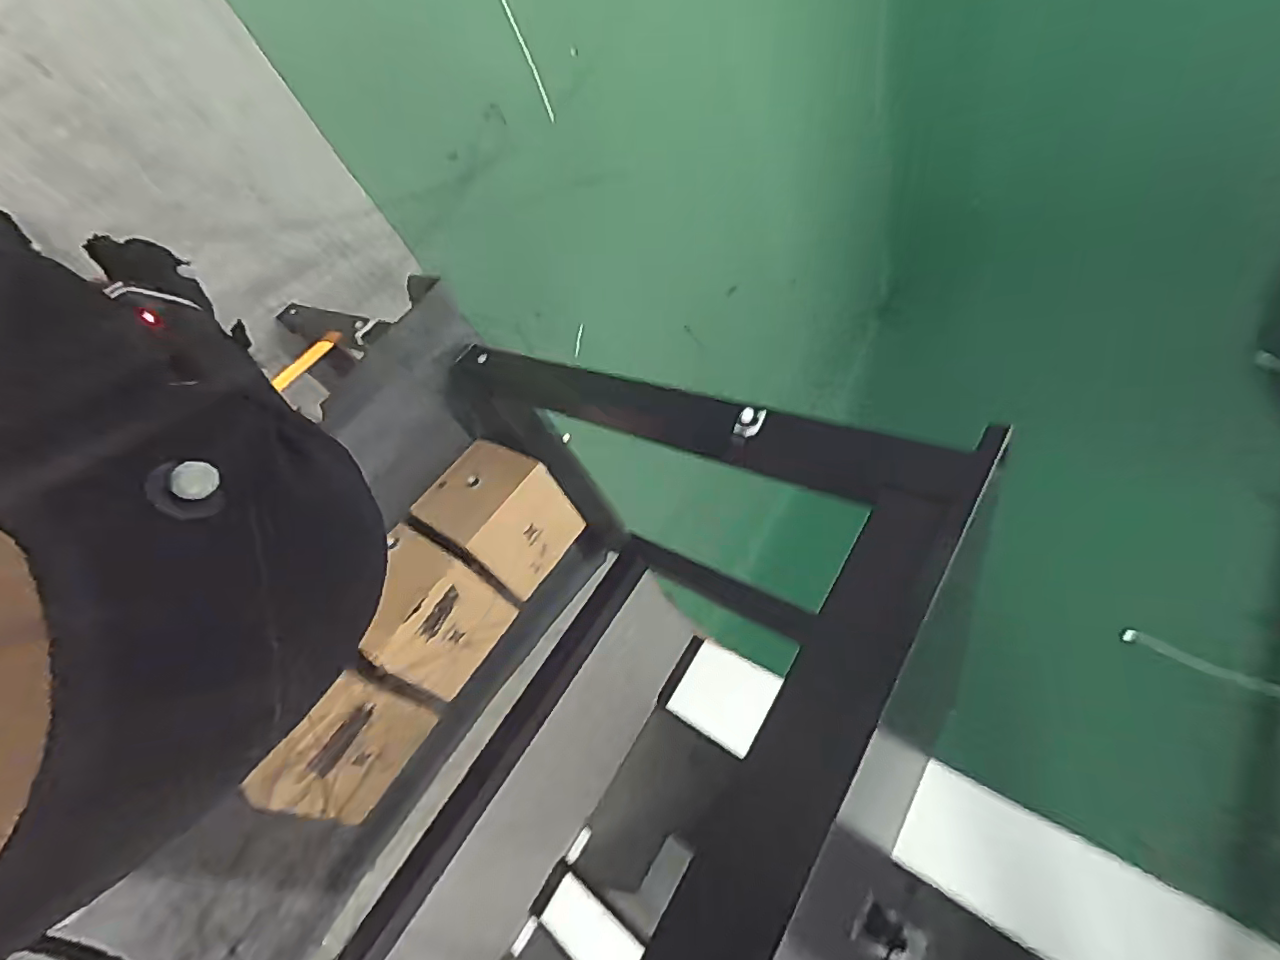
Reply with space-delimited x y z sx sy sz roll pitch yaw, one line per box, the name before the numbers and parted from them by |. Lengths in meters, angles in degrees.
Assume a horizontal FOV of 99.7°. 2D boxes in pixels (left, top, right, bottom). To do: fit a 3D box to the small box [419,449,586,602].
small box | -0.227 0.066 0.896 0.168 0.176 0.179 -51 140 -21
